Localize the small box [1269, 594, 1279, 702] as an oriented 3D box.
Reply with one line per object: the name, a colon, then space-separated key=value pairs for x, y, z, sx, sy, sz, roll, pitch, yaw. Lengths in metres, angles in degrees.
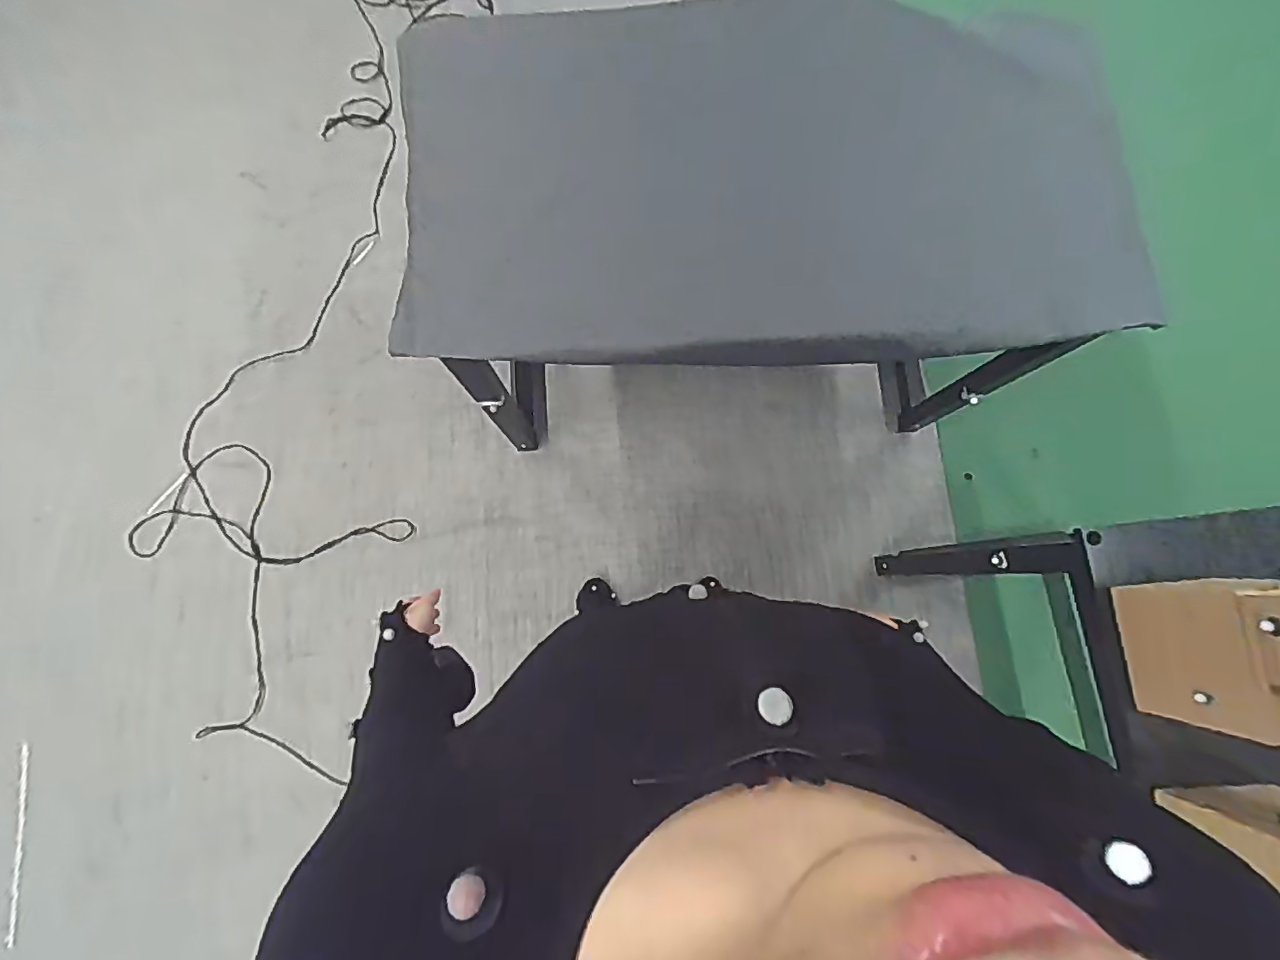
small box: x=0.794 y=0.195 z=0.532 sx=0.179 sy=0.176 sz=0.168 roll=-2 pitch=81 yaw=-2

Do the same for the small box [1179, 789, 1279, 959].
small box: x=0.806 y=0.490 z=0.647 sx=0.179 sy=0.176 sz=0.168 roll=-1 pitch=81 yaw=-1
